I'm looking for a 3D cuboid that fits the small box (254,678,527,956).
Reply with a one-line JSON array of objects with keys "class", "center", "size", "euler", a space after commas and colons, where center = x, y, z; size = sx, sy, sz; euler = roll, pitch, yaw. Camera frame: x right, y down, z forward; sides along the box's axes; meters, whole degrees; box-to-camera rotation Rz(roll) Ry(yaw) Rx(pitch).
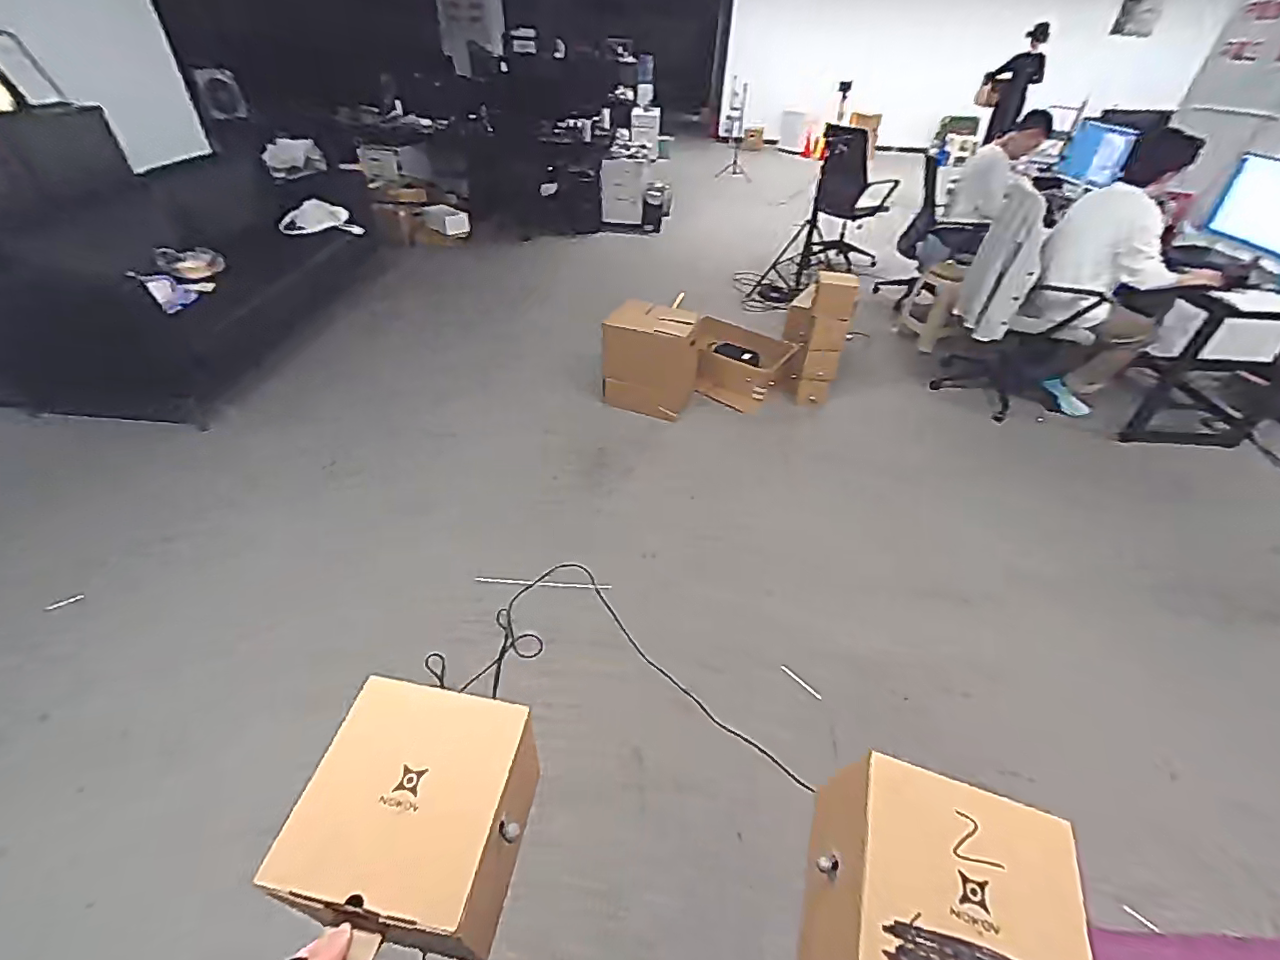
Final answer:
[{"class": "small box", "center": [-0.214, 0.327, 0.527], "size": [0.168, 0.176, 0.179], "euler": [10, 44, 4]}]
